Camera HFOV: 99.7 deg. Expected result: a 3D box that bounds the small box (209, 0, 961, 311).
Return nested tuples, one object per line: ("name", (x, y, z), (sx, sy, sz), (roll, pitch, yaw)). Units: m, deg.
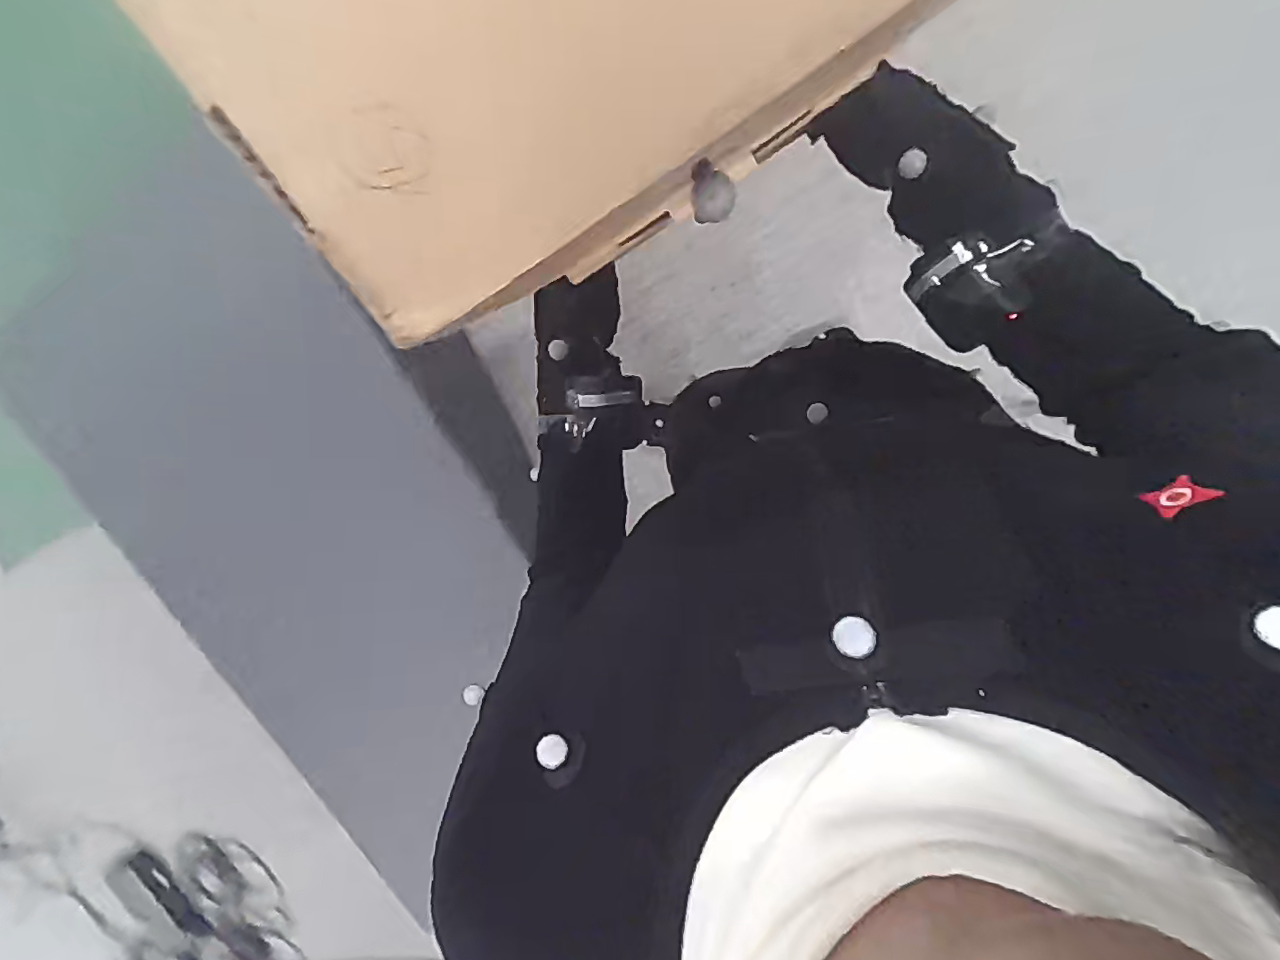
("small box", (-0.008, -0.173, 0.146), (0.179, 0.176, 0.168), (-26, 112, 17))
